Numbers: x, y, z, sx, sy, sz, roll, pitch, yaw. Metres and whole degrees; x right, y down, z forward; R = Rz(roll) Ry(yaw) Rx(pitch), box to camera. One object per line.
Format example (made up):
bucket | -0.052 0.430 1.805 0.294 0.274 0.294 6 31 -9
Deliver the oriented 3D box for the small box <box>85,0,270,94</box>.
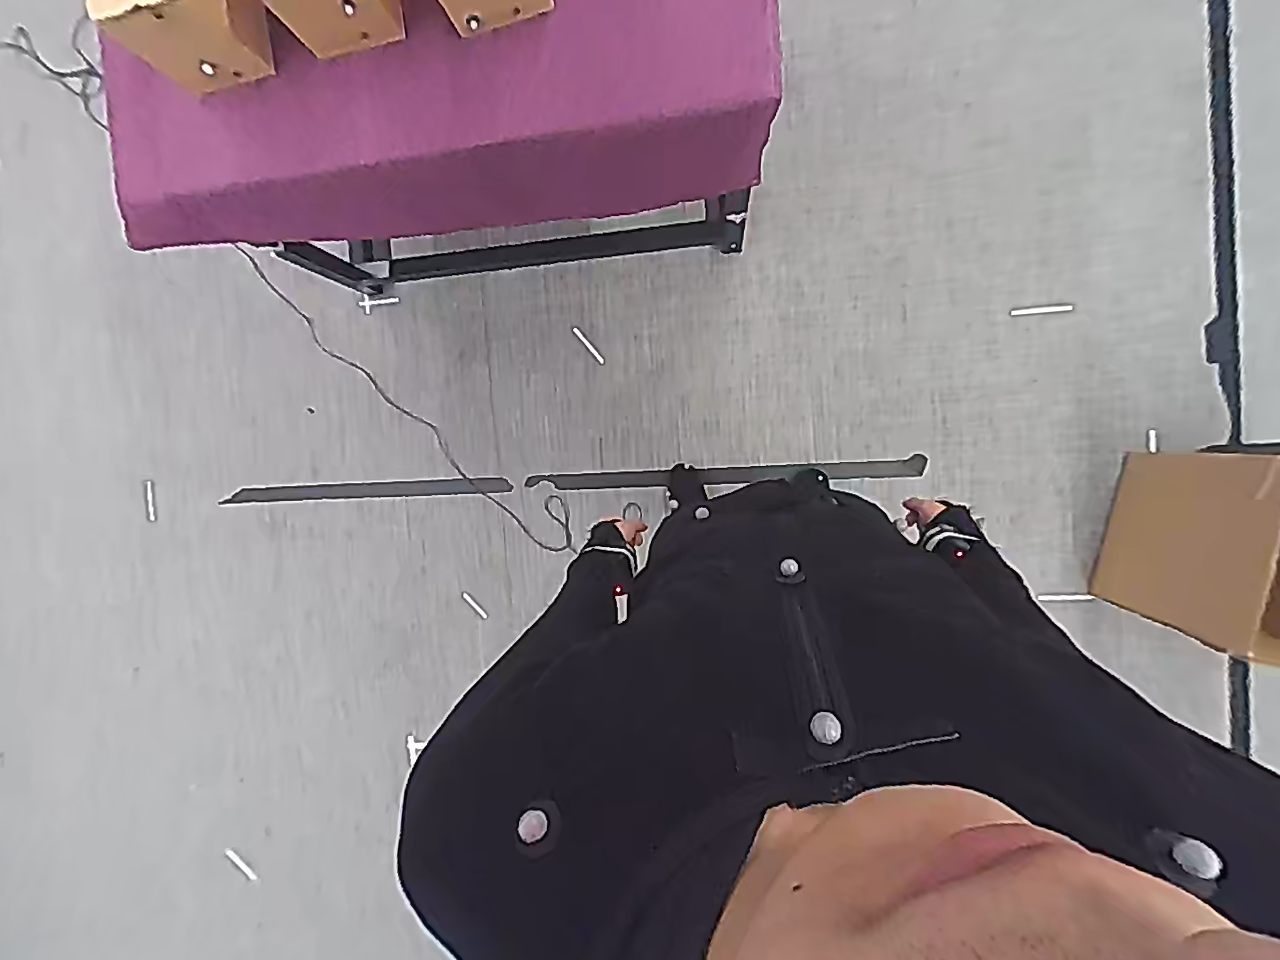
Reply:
small box | -0.750 -0.783 0.881 0.168 0.176 0.179 -8 92 8

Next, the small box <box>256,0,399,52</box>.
small box | -0.504 -0.819 0.849 0.168 0.176 0.179 -6 92 7

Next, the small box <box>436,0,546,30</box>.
small box | -0.253 -0.833 0.815 0.168 0.176 0.179 -12 91 8
